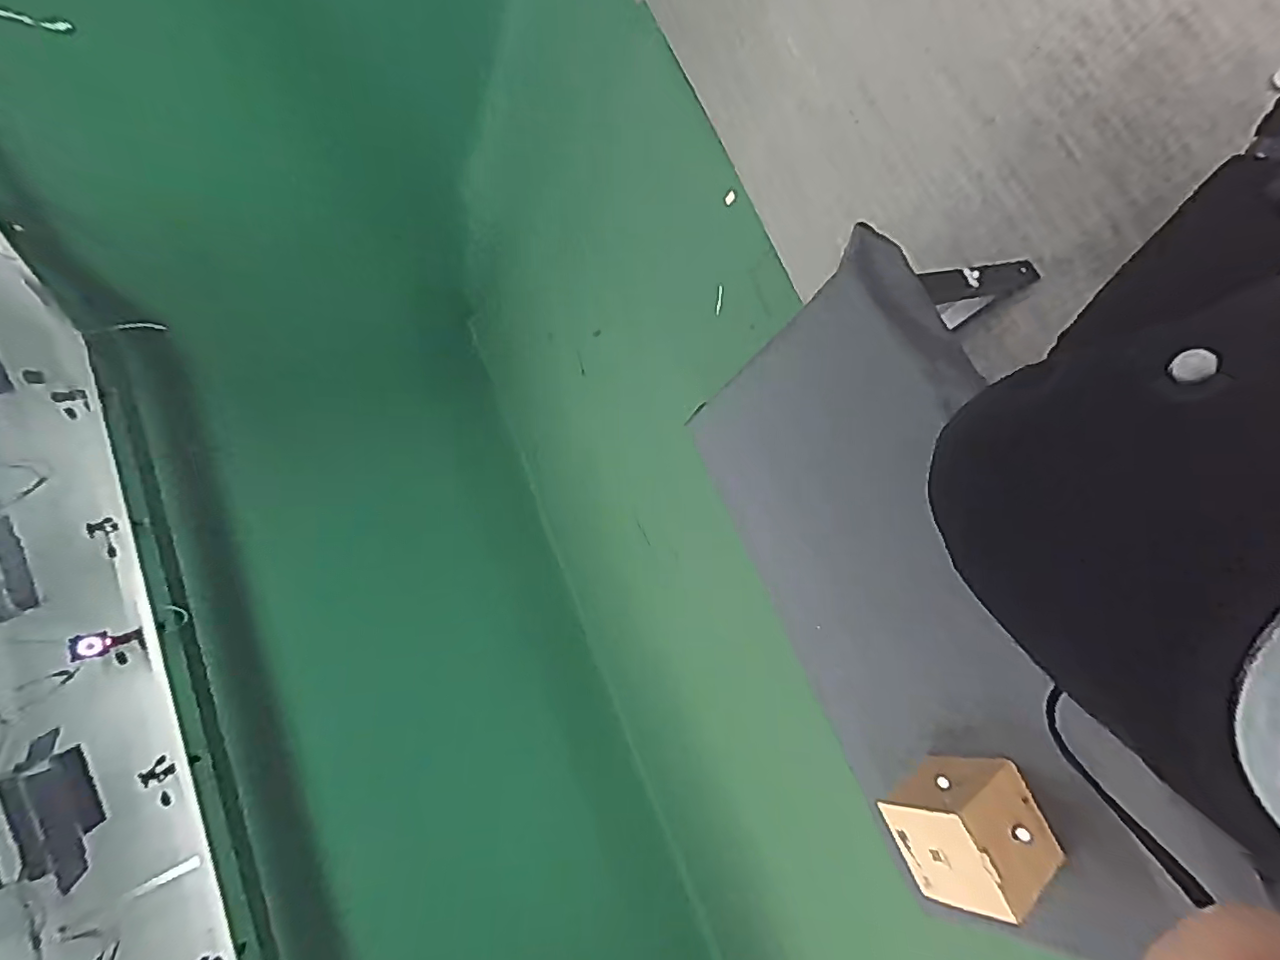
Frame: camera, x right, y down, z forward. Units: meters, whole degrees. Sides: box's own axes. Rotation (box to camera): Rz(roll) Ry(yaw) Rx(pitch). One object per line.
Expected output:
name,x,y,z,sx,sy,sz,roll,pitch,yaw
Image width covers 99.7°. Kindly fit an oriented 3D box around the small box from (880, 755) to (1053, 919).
small box,0.569,0.600,0.938,0.168,0.176,0.179,65,148,13
